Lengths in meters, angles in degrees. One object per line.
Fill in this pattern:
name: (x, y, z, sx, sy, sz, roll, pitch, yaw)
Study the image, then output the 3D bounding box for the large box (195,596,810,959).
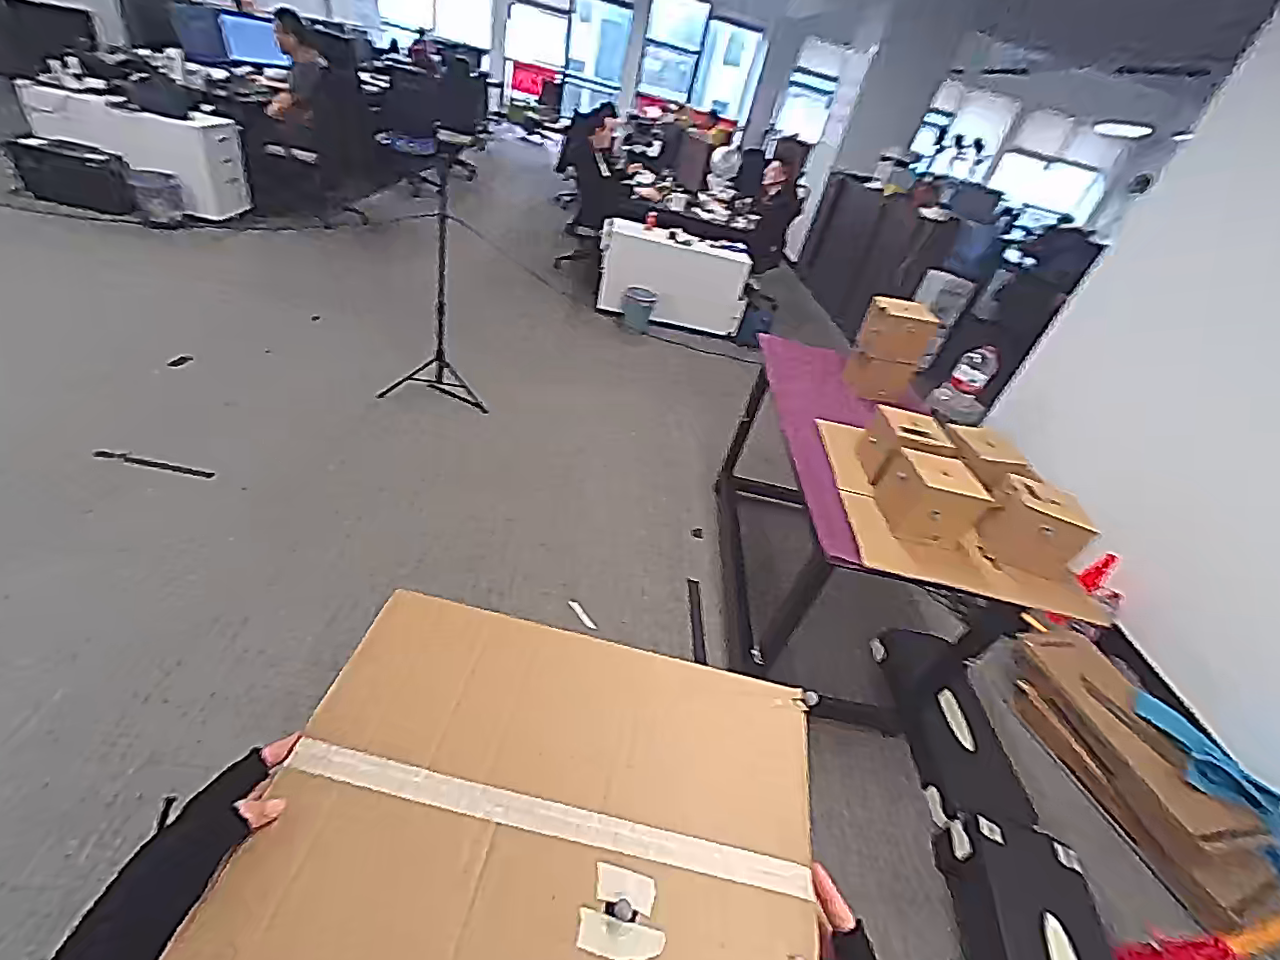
large box: (-0.086, 0.366, 0.526, 0.408, 0.320, 0.320, 14, 44, 2)
